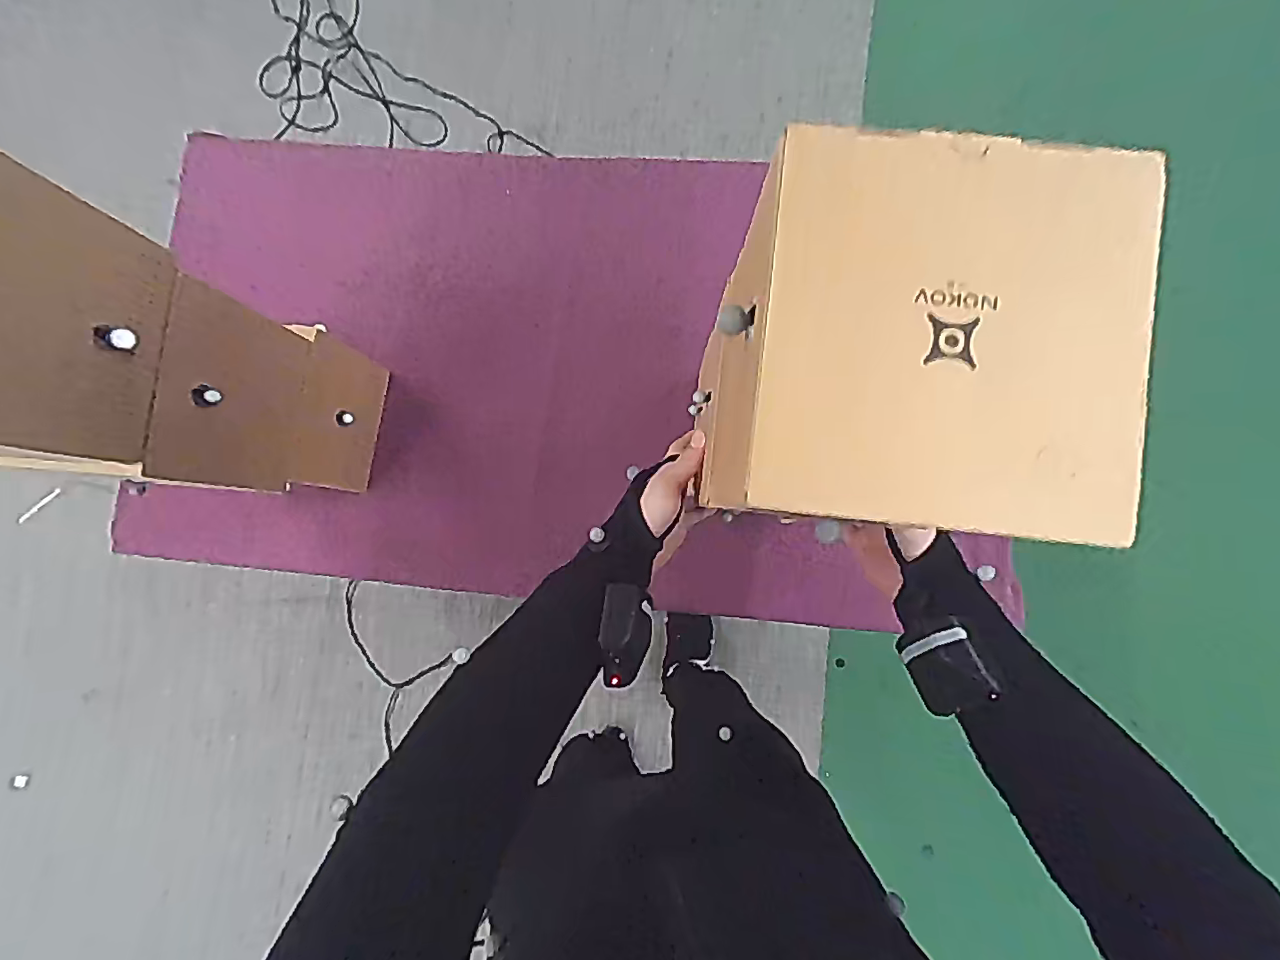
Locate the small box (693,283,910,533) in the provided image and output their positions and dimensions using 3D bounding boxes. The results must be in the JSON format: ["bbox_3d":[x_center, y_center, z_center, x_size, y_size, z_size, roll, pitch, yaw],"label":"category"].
[{"bbox_3d":[0.138,-0.051,0.481,0.168,0.176,0.179,6,86,3],"label":"small box"}]

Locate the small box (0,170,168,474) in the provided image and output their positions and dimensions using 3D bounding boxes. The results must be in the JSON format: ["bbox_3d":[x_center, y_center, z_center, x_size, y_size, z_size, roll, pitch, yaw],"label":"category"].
[{"bbox_3d":[-0.467,-0.106,0.355,0.168,0.176,0.179,4,84,3],"label":"small box"}]

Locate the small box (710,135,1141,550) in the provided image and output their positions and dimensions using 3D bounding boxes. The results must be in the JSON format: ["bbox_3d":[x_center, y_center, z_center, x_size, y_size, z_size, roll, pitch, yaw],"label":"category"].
[{"bbox_3d":[0.134,-0.060,0.319,0.168,0.176,0.179,6,87,3],"label":"small box"}]

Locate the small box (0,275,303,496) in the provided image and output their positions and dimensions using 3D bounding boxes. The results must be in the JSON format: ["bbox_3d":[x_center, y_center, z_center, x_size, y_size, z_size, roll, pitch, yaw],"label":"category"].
[{"bbox_3d":[-0.460,-0.080,0.517,0.168,0.176,0.179,5,84,3],"label":"small box"}]
